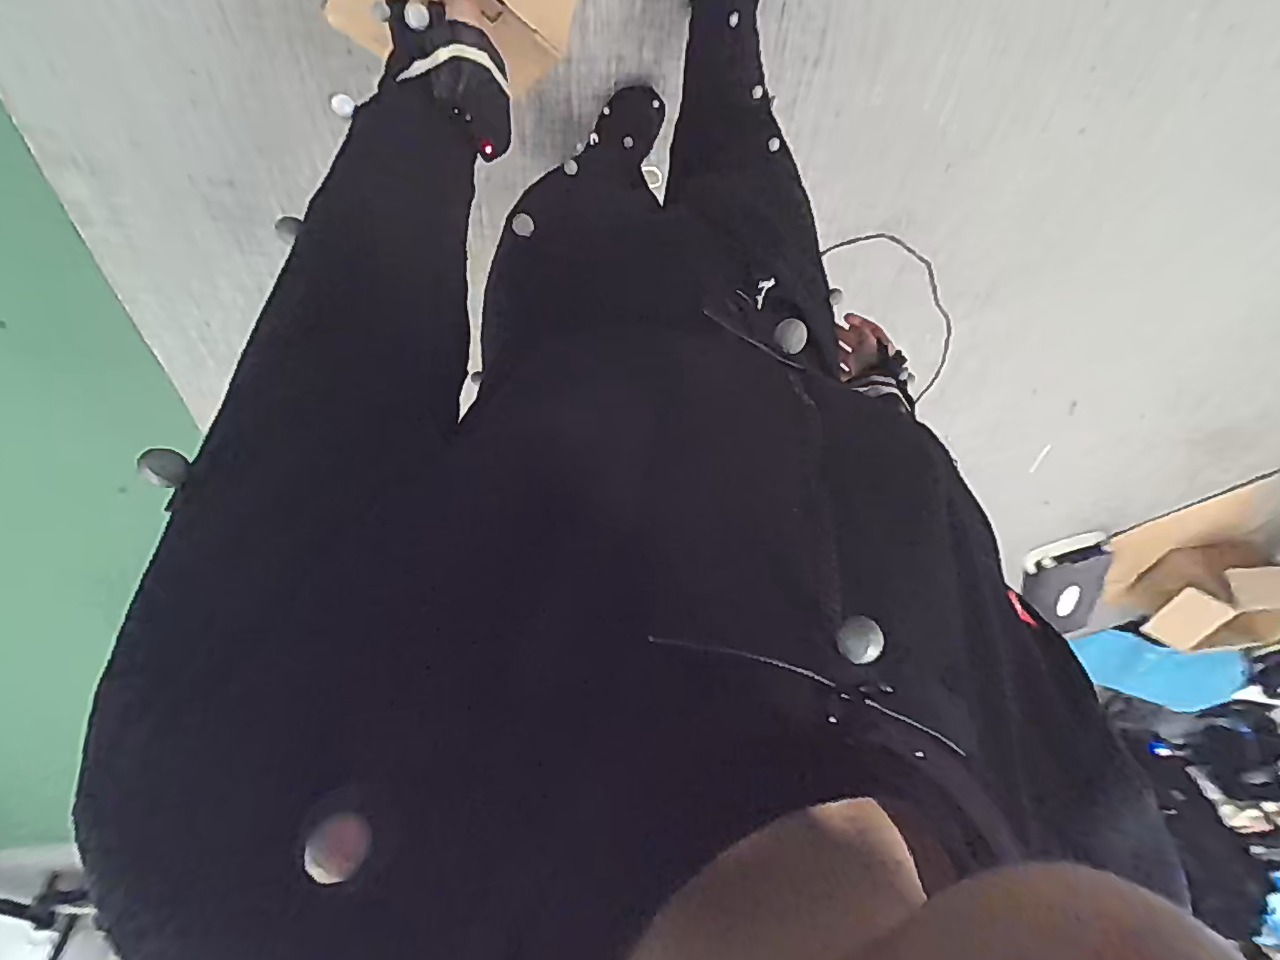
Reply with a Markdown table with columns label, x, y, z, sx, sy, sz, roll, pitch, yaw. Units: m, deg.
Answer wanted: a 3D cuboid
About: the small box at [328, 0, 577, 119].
| label | x | y | z | sx | sy | sz | roll | pitch | yaw |
| --- | --- | --- | --- | --- | --- | --- | --- | --- | --- |
| small box | -0.164 | -0.485 | 0.493 | 0.168 | 0.176 | 0.179 | 14 | 86 | -44 |
